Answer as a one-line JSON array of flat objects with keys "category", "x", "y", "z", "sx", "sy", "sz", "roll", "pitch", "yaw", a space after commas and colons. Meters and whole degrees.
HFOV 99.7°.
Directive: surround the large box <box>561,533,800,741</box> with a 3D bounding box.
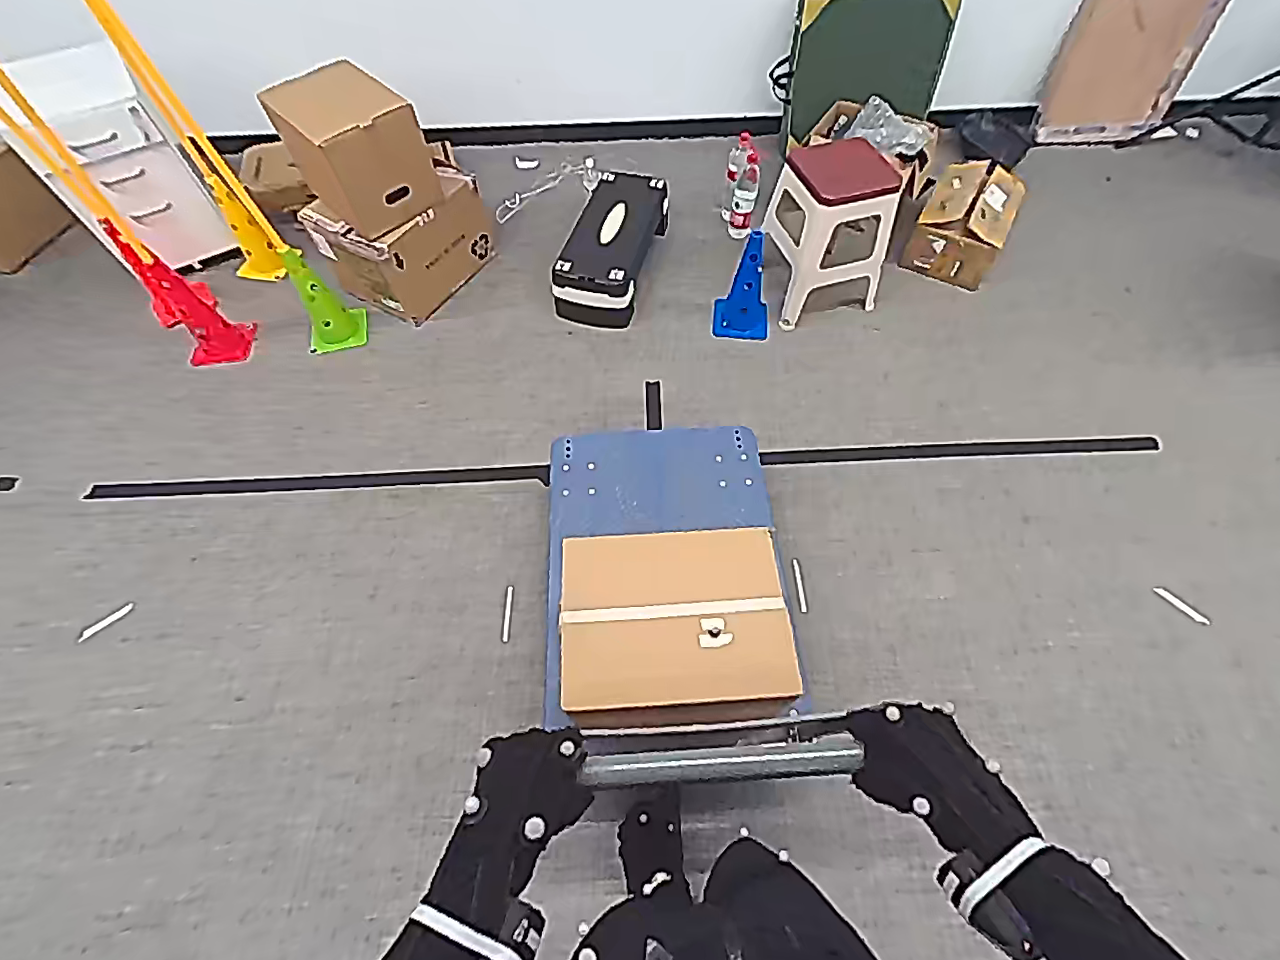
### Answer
[{"category": "large box", "x": 0.056, "y": 0.324, "z": 1.088, "sx": 0.408, "sy": 0.320, "sz": 0.320, "roll": -3, "pitch": 59, "yaw": -3}]
